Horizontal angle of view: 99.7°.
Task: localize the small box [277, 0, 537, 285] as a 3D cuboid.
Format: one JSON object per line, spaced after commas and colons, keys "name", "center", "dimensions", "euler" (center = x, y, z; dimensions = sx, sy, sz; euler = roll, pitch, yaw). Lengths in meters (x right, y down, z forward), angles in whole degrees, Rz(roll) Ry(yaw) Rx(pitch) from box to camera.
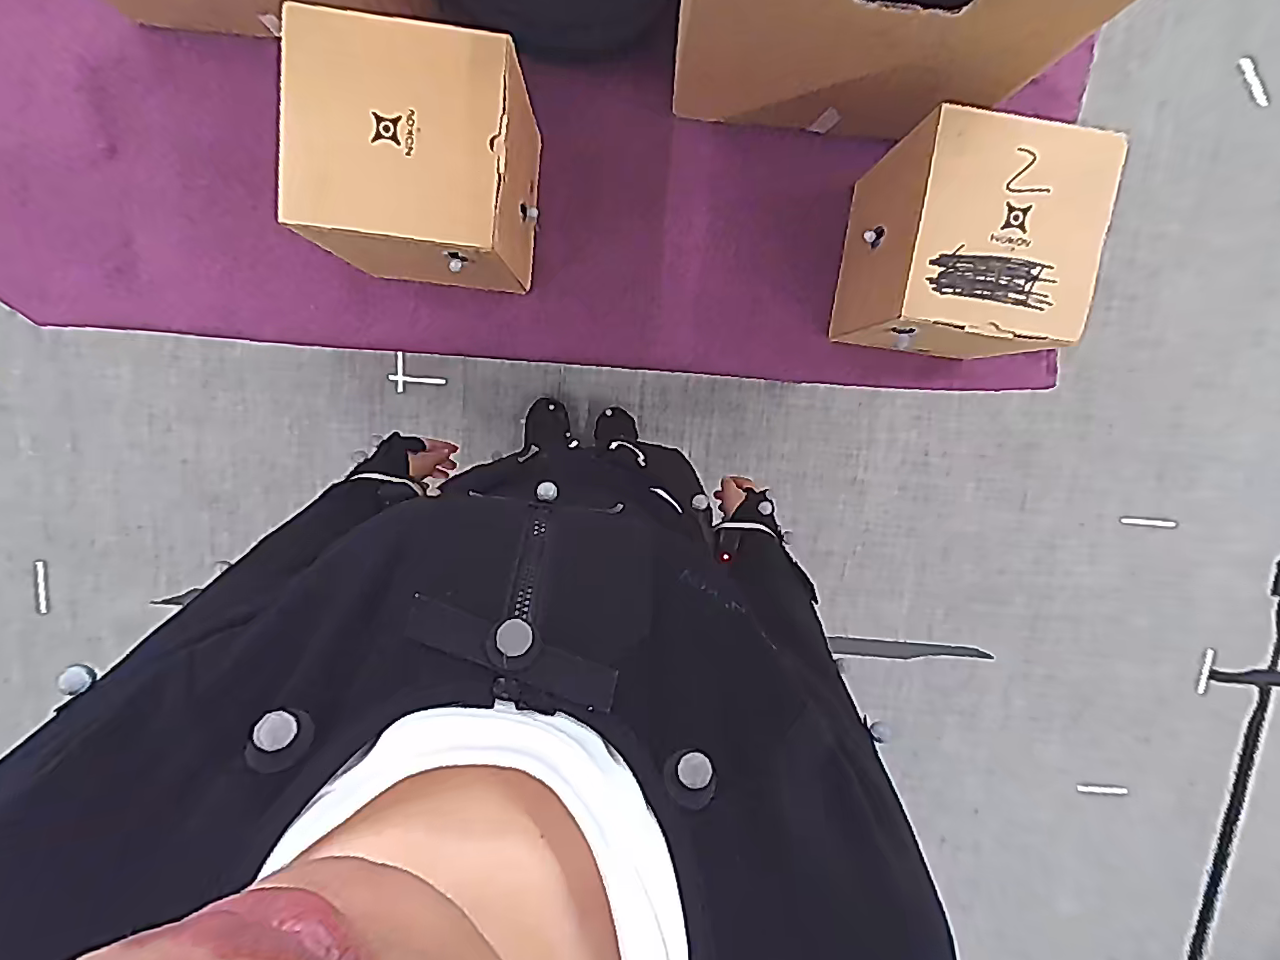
{"name": "small box", "center": [-0.201, -0.292, 0.510], "dimensions": [0.179, 0.176, 0.168], "euler": [5, 97, -4]}
